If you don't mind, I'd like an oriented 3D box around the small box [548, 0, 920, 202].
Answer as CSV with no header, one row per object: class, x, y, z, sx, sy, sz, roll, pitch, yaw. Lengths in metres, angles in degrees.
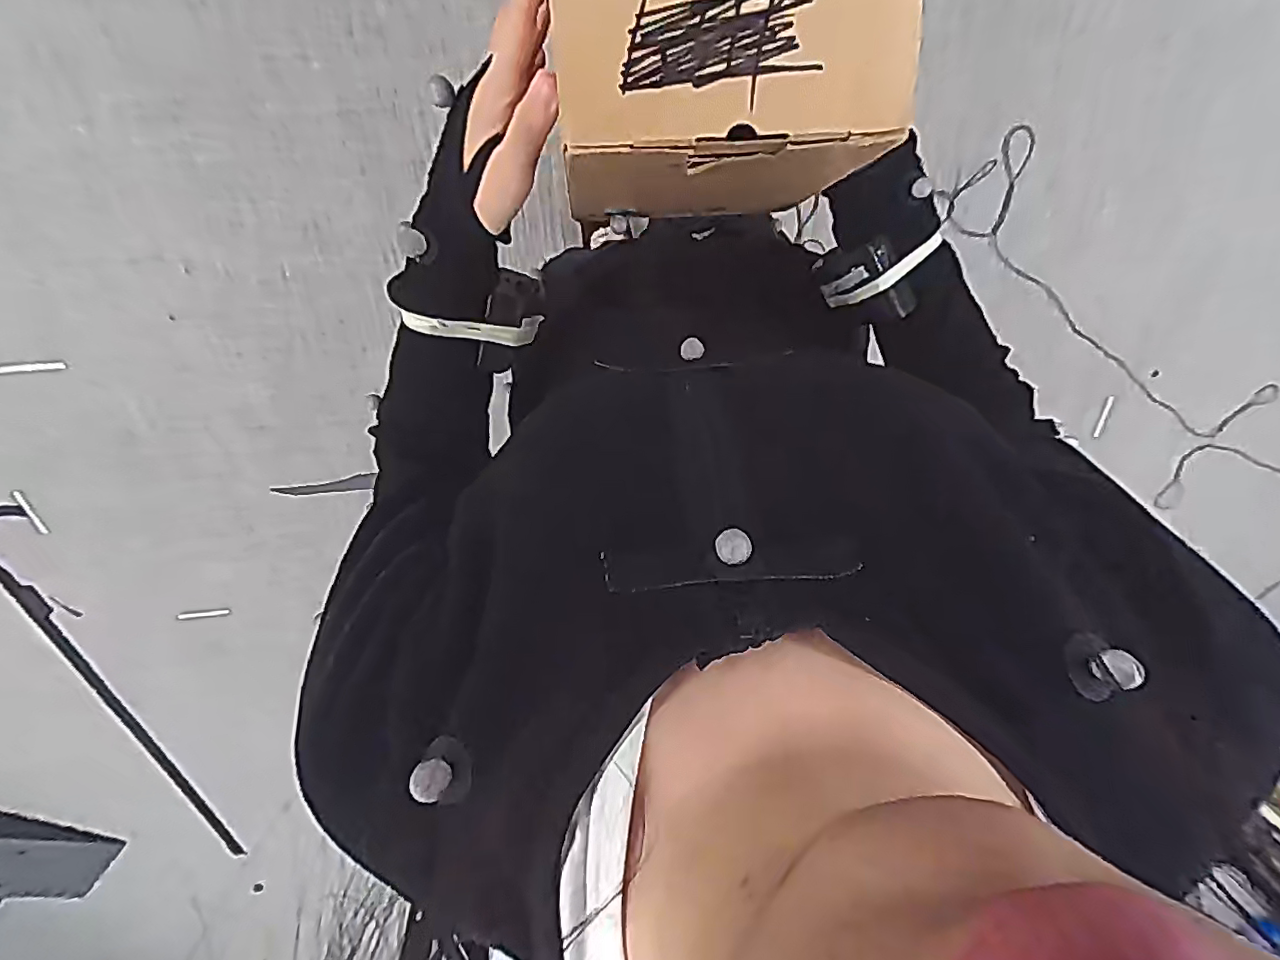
small box,0.034,-0.265,0.301,0.168,0.176,0.179,-5,106,-4
